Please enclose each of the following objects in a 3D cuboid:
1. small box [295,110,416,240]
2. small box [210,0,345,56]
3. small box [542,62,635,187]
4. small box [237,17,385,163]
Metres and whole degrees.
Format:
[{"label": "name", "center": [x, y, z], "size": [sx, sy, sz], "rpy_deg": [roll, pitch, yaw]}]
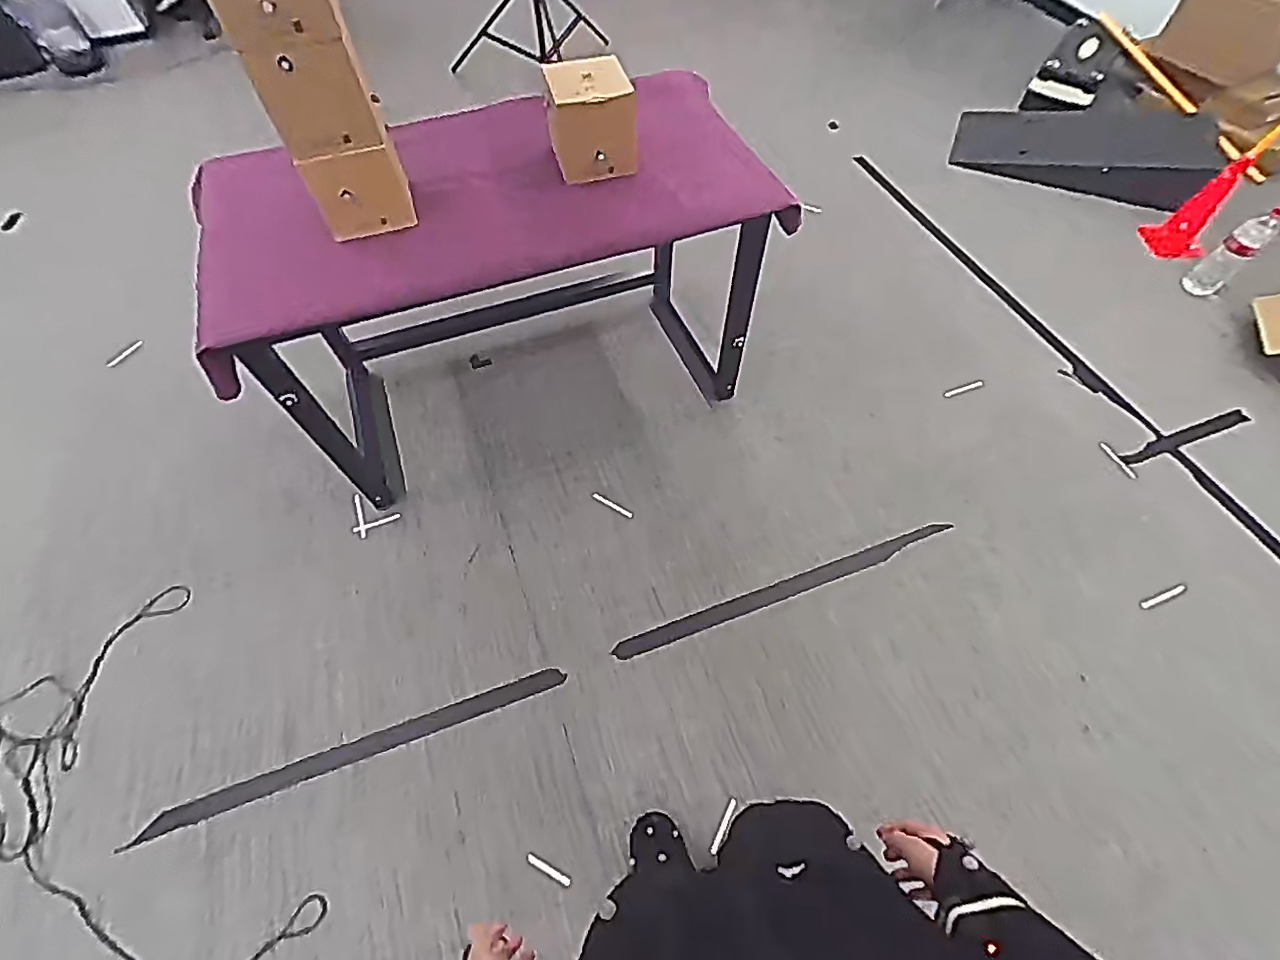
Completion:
[{"label": "small box", "center": [-0.575, -0.614, 1.104], "size": [0.168, 0.176, 0.179], "rpy_deg": [-18, 61, -10]}, {"label": "small box", "center": [-0.575, -0.786, 0.823], "size": [0.168, 0.176, 0.179], "rpy_deg": [-18, 61, -10]}, {"label": "small box", "center": [-0.111, -0.785, 1.199], "size": [0.168, 0.176, 0.179], "rpy_deg": [-14, 61, -7]}, {"label": "small box", "center": [-0.579, -0.703, 0.965], "size": [0.168, 0.176, 0.179], "rpy_deg": [-18, 60, -10]}]
